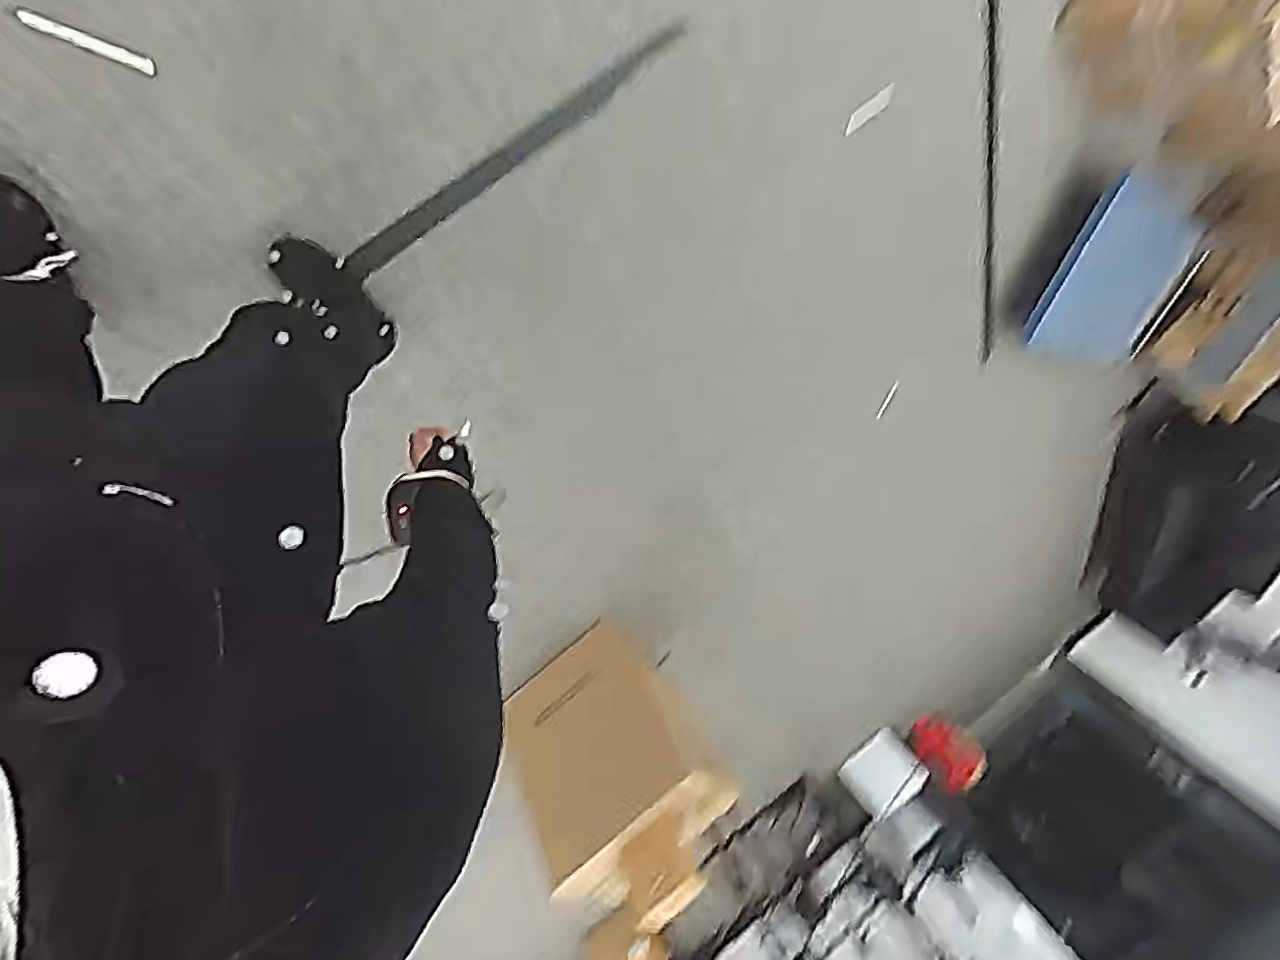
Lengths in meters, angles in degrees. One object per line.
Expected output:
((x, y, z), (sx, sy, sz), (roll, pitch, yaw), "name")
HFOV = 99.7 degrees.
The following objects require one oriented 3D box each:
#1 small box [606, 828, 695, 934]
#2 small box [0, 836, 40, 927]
((0.022, 1.141, 1.541), (0.179, 0.176, 0.168), (-37, 133, -6), "small box")
((-1.556, 0.945, 1.237), (0.168, 0.176, 0.179), (-39, 135, -5), "small box")
